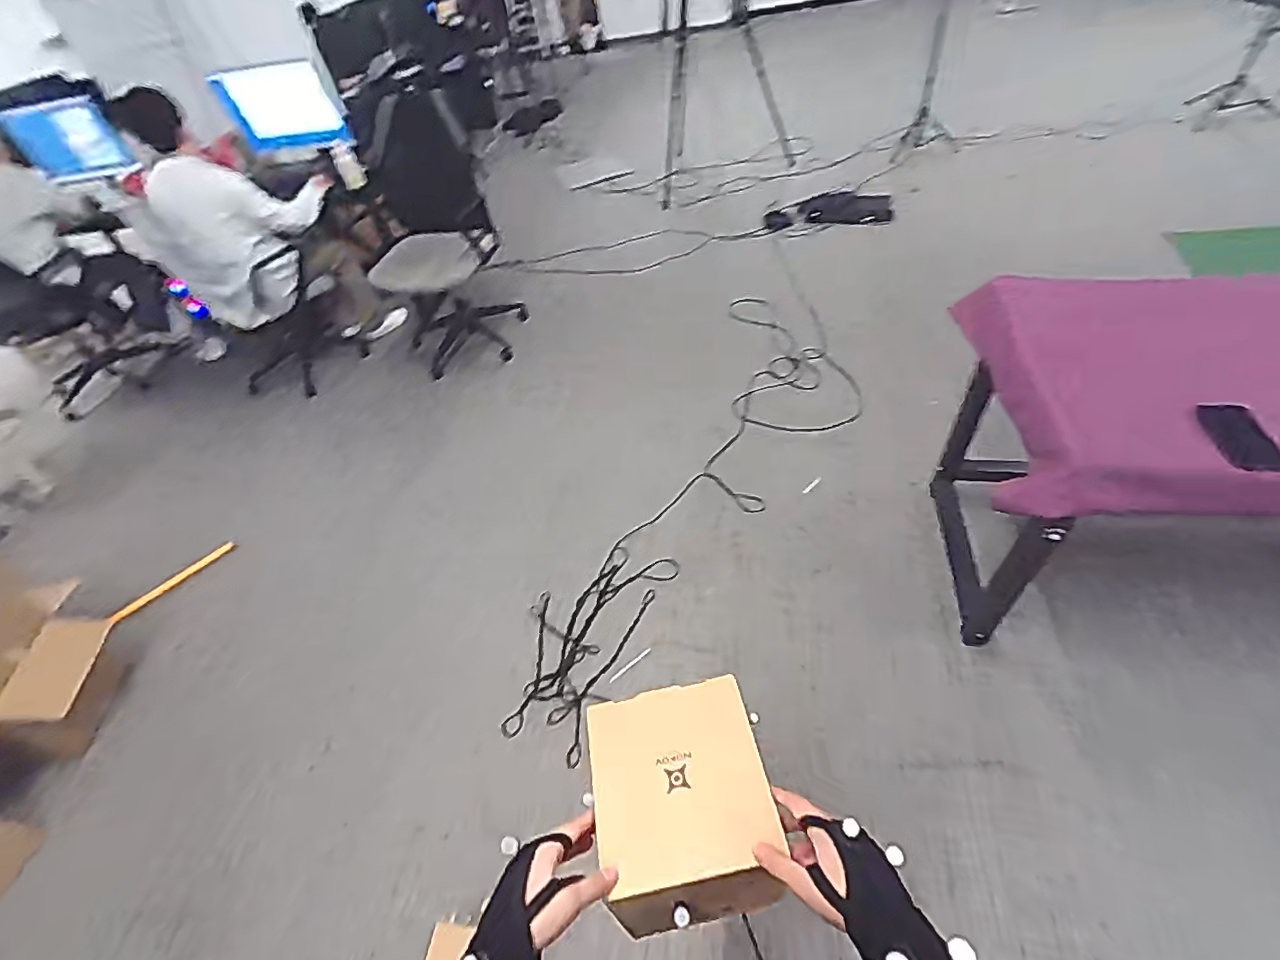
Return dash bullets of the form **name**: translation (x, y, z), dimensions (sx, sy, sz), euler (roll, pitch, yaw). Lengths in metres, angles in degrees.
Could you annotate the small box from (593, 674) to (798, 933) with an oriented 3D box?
- **small box**: translation (0.054, 0.337, 0.559), dimensions (0.168, 0.176, 0.179), euler (-12, 39, -1)
